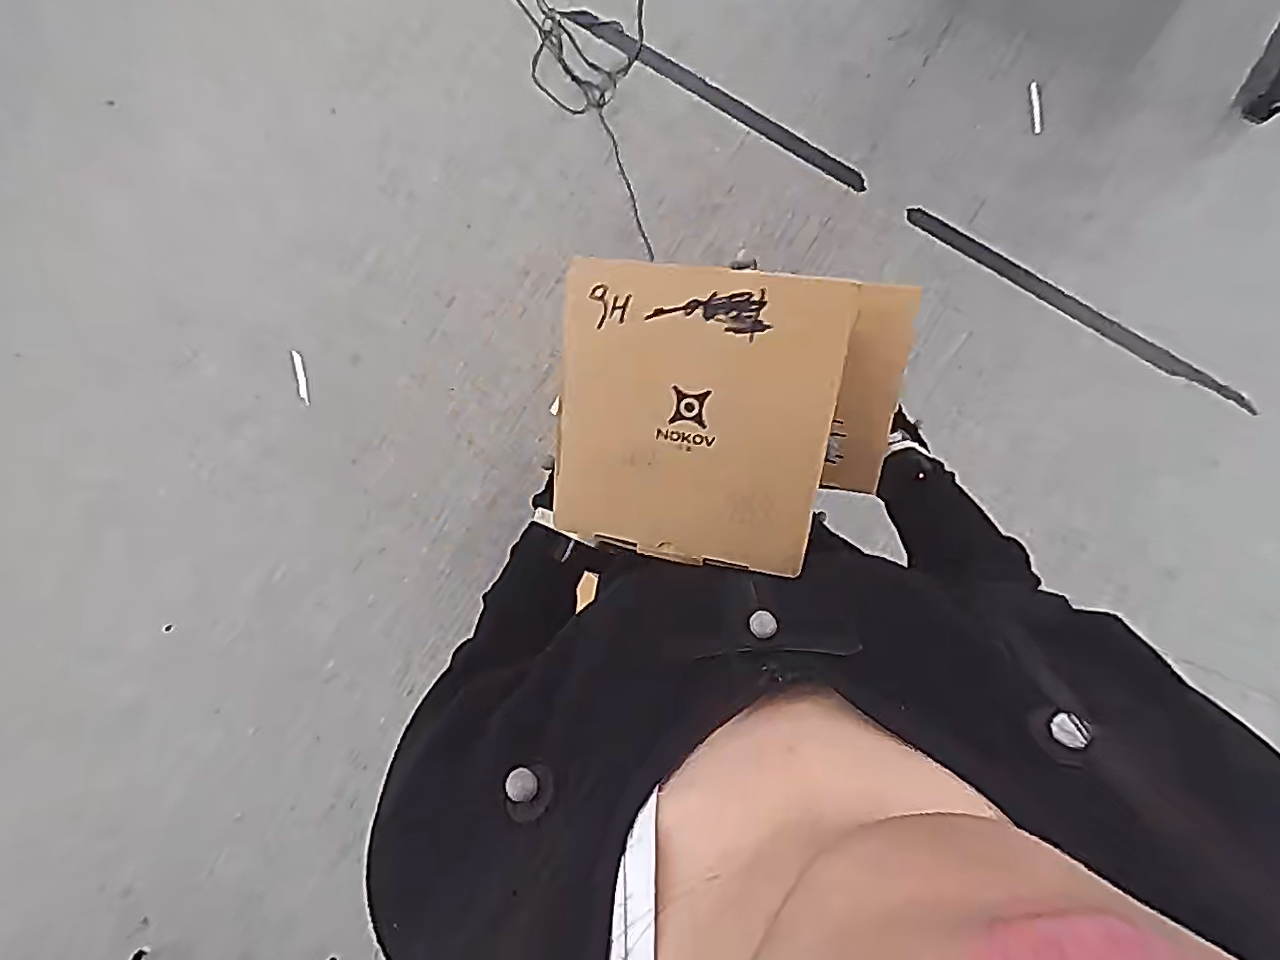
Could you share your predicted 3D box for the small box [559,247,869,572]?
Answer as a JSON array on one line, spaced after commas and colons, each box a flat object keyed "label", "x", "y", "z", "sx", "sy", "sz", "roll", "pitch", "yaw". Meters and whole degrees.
[{"label": "small box", "x": 0.052, "y": -0.060, "z": 0.398, "sx": 0.168, "sy": 0.176, "sz": 0.179, "roll": 11, "pitch": 107, "yaw": 11}]
